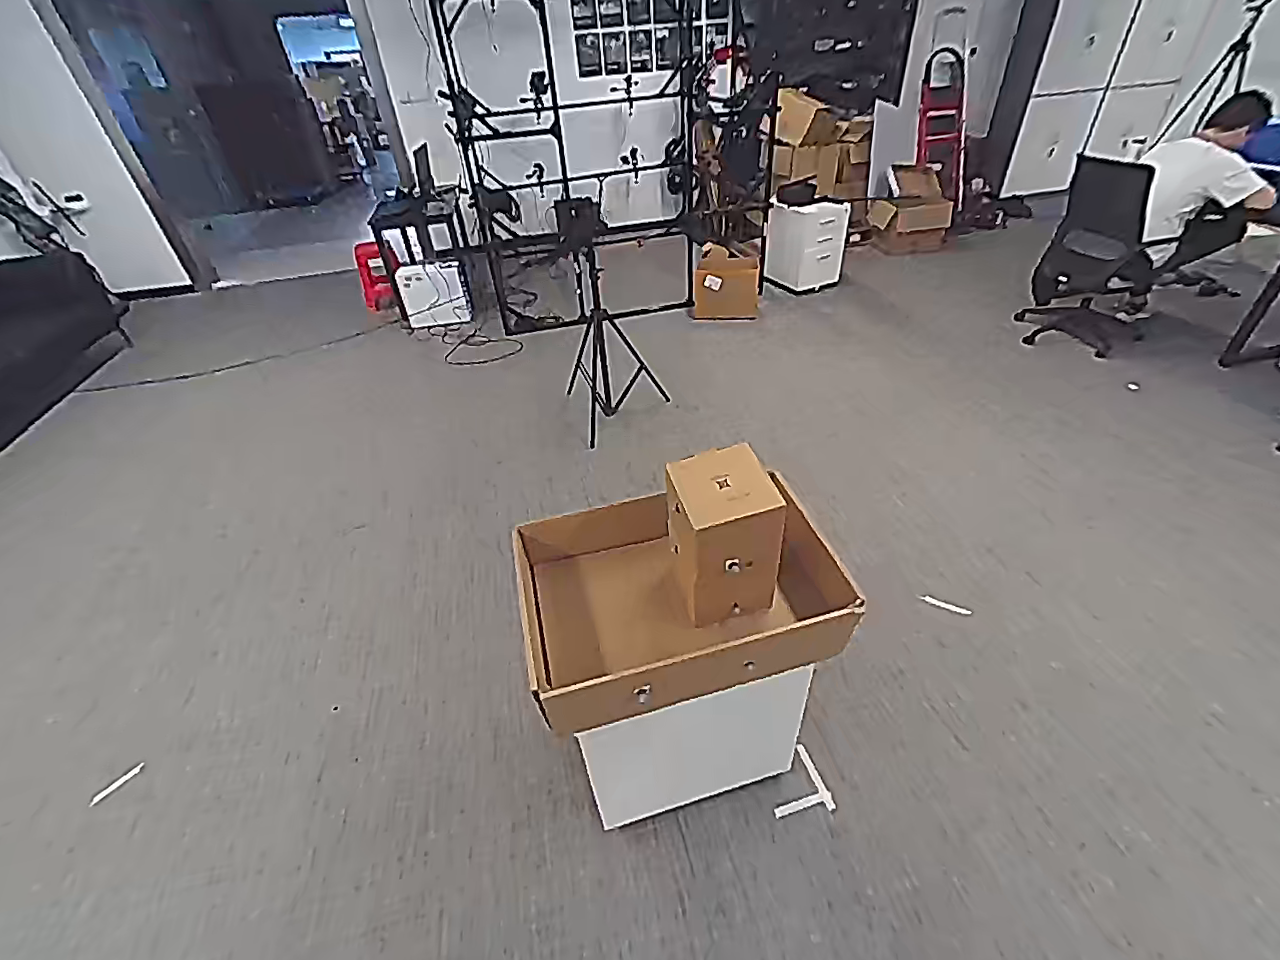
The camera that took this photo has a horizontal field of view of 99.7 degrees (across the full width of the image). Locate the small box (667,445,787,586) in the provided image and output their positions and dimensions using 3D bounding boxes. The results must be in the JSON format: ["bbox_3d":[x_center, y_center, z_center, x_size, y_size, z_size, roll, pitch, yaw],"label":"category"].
[{"bbox_3d":[0.155,0.066,1.009,0.168,0.176,0.179,-16,45,-7],"label":"small box"}]

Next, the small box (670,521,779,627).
[{"bbox_3d":[0.169,0.179,1.127,0.179,0.176,0.168,-14,44,-8],"label":"small box"}]
